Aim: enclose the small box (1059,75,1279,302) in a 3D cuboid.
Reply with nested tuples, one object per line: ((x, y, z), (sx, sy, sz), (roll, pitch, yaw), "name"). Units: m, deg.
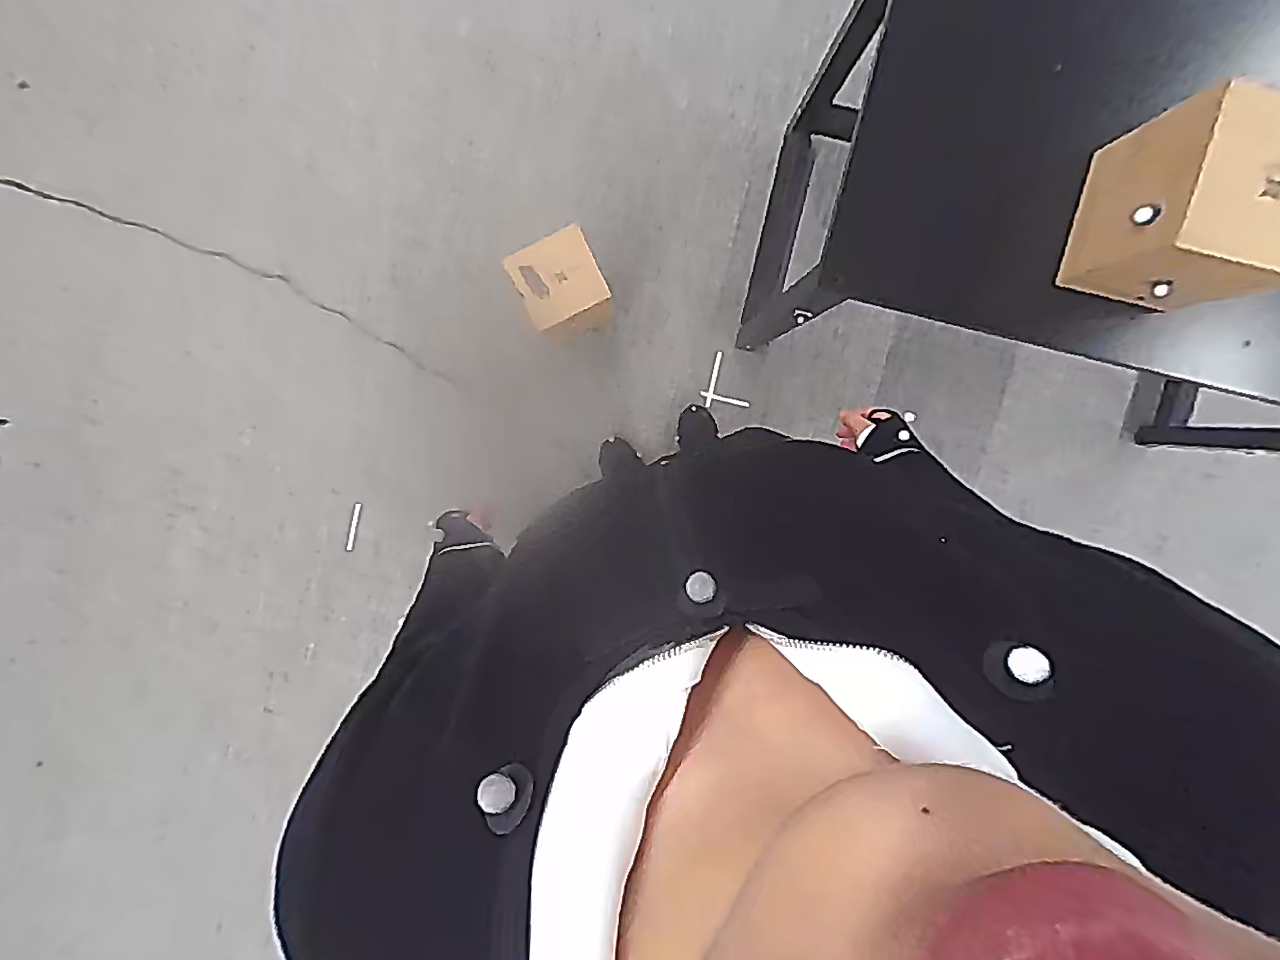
((0.660, -0.330, 0.653), (0.168, 0.176, 0.179), (13, 96, -2), "small box")

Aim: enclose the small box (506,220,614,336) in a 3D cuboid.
((-0.168, -0.437, 1.204), (0.179, 0.176, 0.168), (-26, 97, 3), "small box")
